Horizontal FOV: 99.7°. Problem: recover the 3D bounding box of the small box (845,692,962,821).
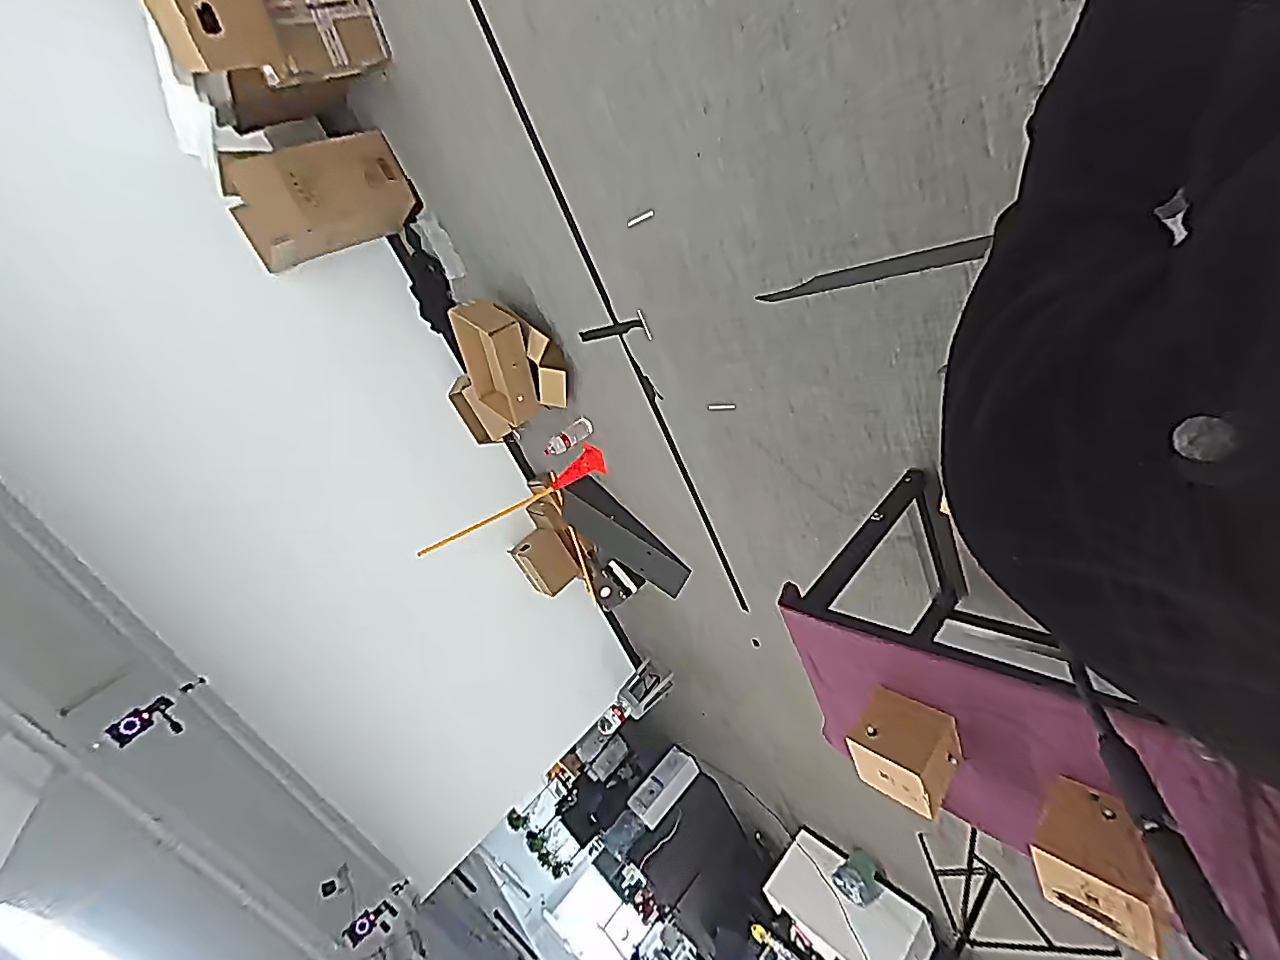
[{"bbox_3d":[0.612,0.626,1.252,0.179,0.176,0.168,9,132,51],"label":"small box"}]
